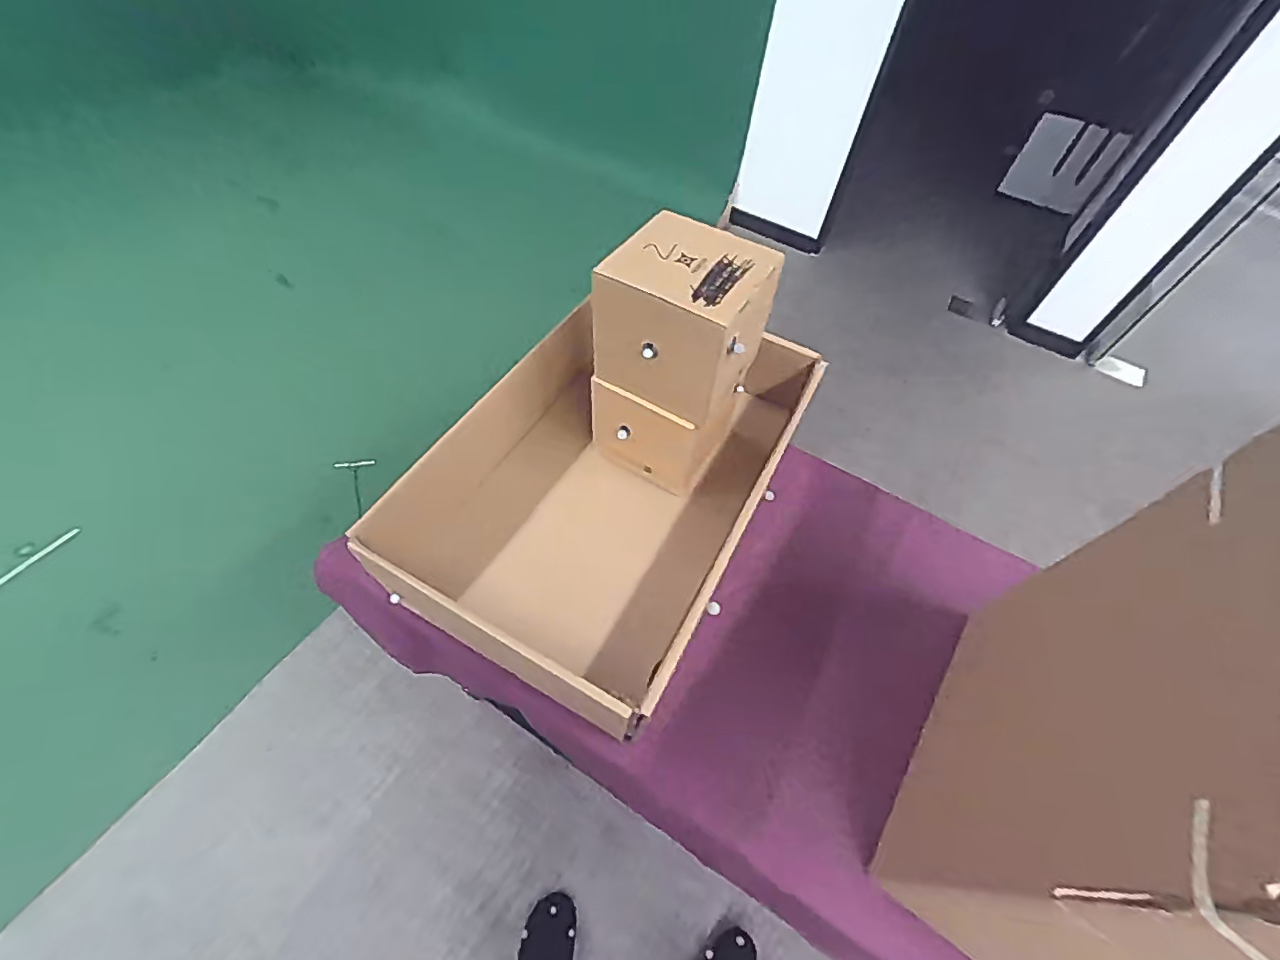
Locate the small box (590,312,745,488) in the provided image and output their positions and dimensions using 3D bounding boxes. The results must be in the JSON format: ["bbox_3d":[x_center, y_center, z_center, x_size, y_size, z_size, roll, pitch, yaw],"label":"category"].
[{"bbox_3d":[0.040,-0.119,0.837,0.168,0.176,0.179,29,59,15],"label":"small box"}]
